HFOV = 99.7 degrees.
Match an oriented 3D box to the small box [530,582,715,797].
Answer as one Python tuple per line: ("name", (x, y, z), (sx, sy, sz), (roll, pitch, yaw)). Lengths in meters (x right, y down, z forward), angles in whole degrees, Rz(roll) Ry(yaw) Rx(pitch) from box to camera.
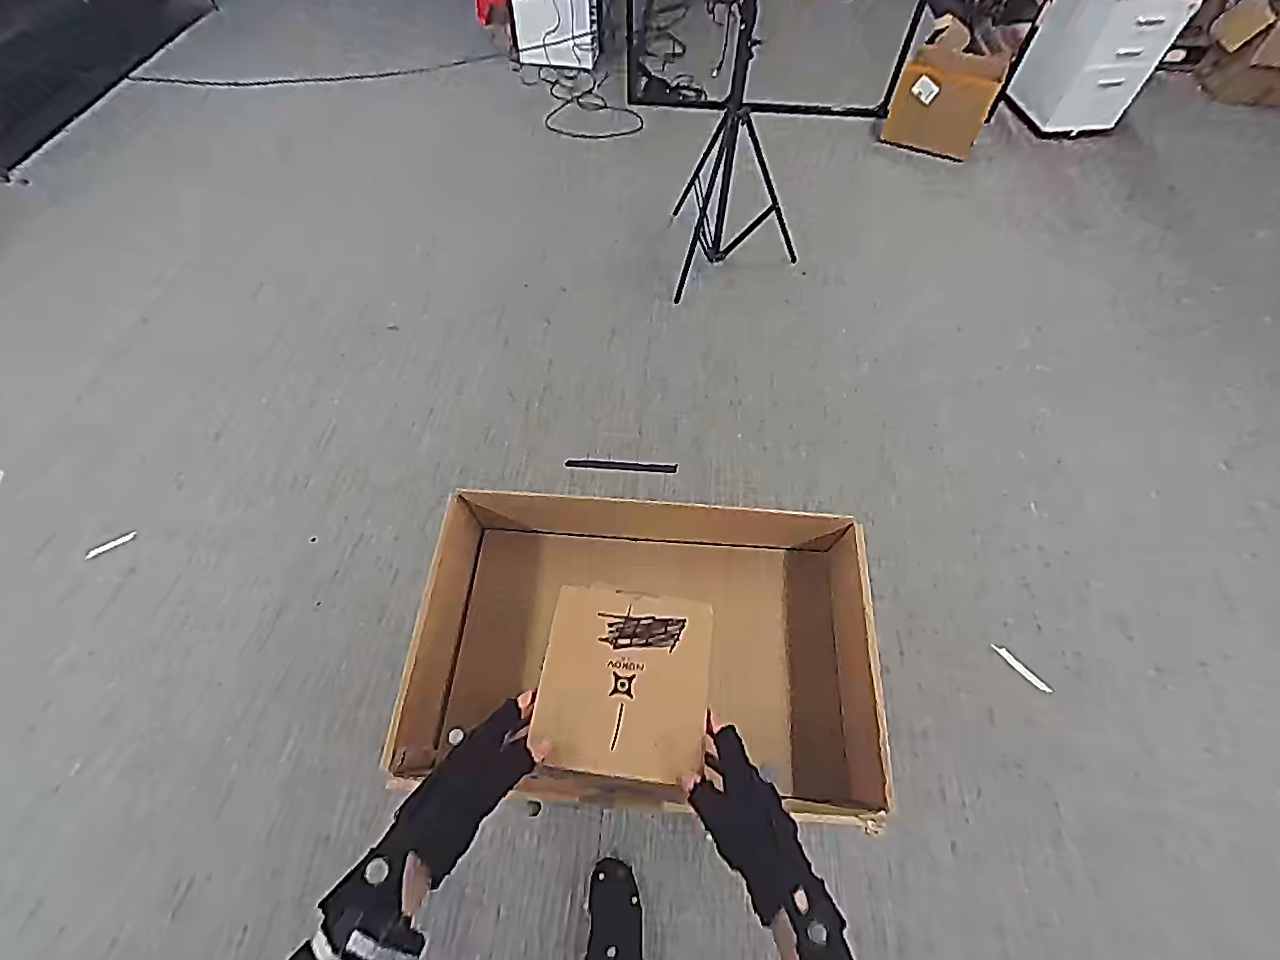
("small box", (-0.013, 0.236, 0.600), (0.168, 0.176, 0.179), (6, 56, 3))
